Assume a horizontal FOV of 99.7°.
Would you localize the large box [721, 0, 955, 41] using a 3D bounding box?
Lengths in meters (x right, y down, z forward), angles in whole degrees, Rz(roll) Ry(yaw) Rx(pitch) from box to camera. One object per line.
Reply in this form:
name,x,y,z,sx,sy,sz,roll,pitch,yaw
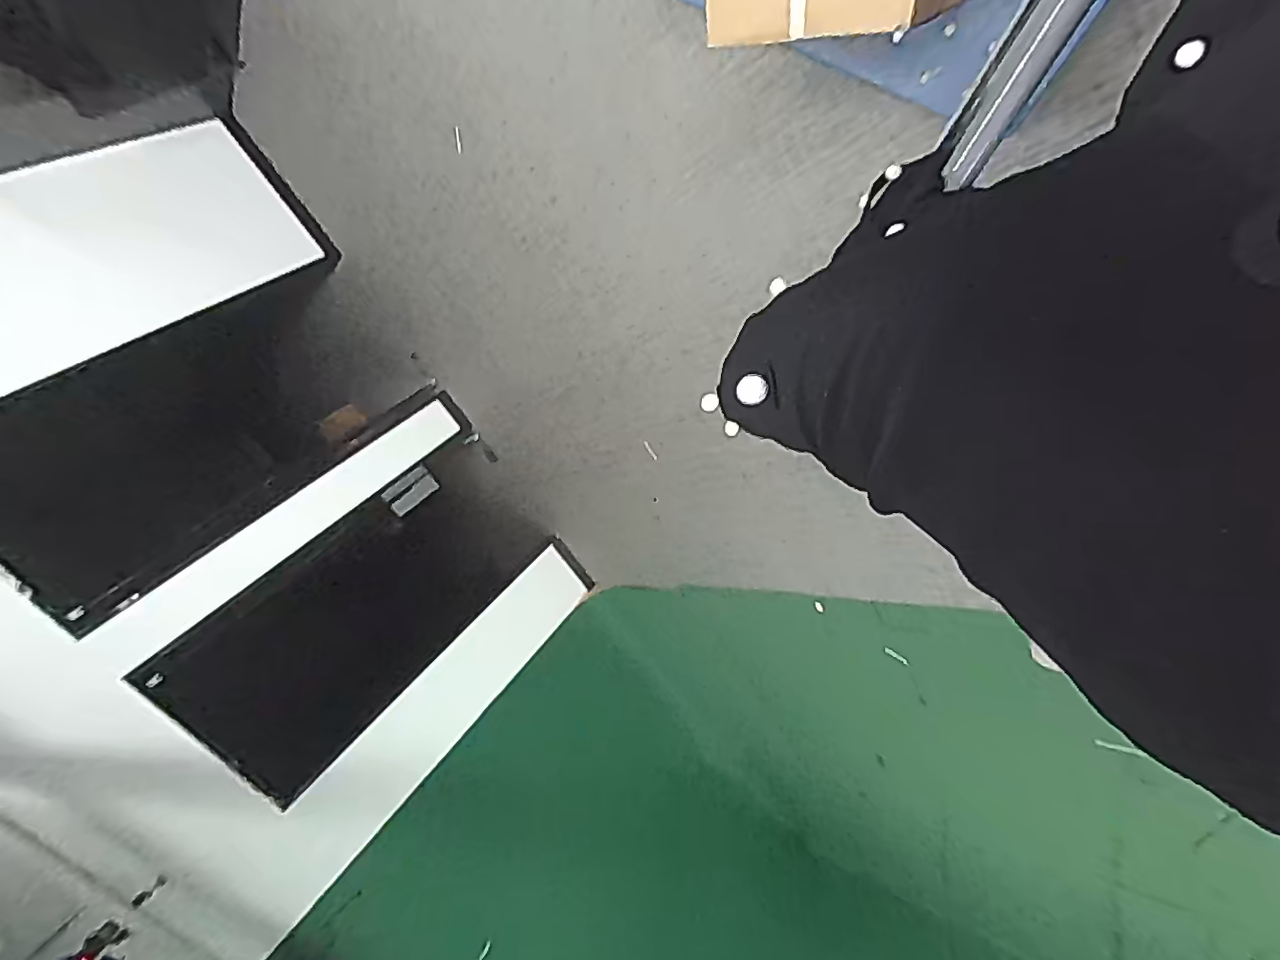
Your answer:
large box,0.310,-0.890,0.731,0.320,0.320,0.408,23,143,30
